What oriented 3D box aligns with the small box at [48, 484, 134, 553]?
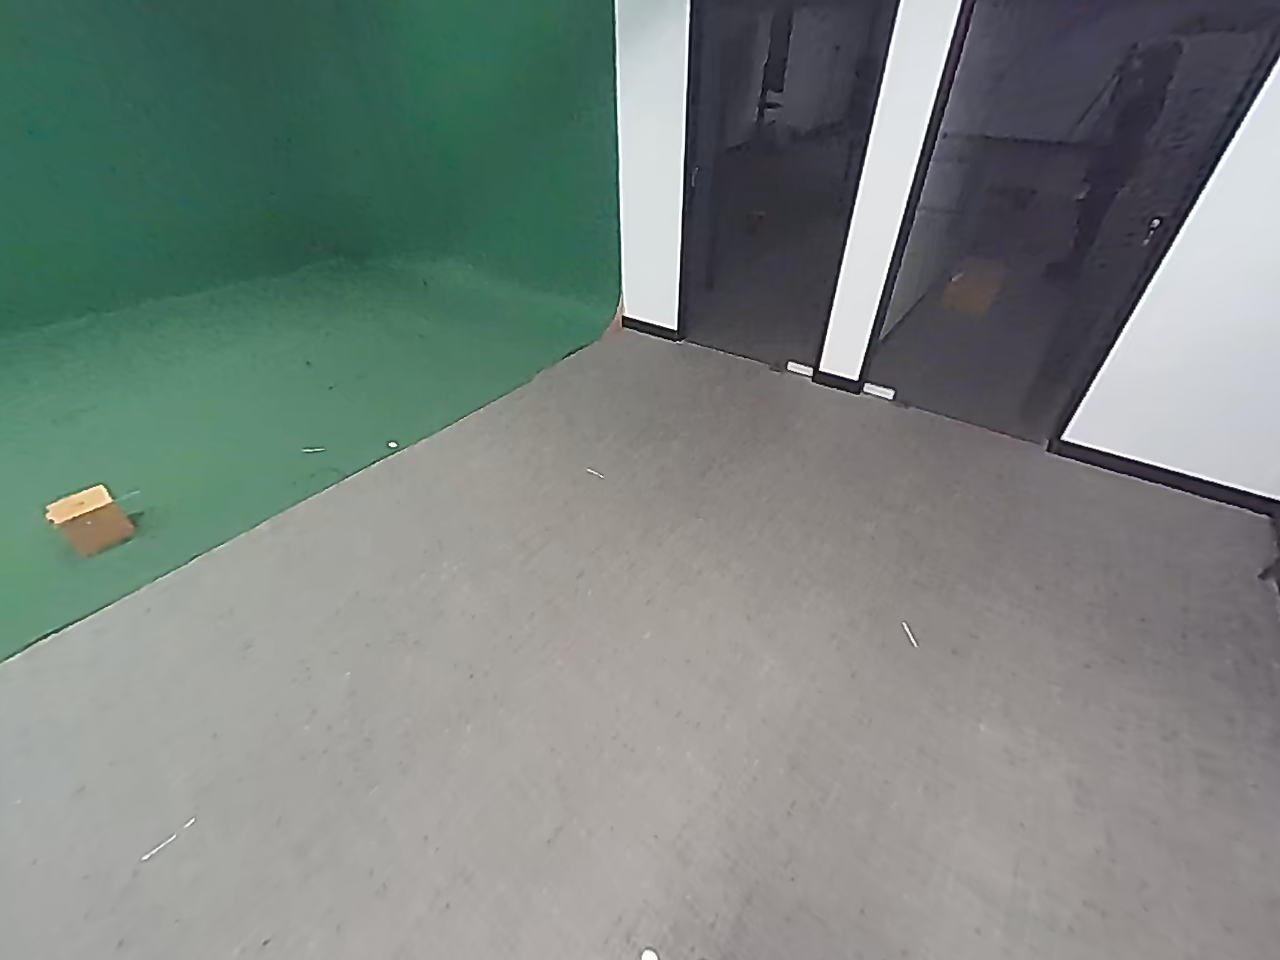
[{"bbox_3d":[-2.140,0.150,2.119,0.168,0.176,0.179,29,47,30],"label":"small box"}]
